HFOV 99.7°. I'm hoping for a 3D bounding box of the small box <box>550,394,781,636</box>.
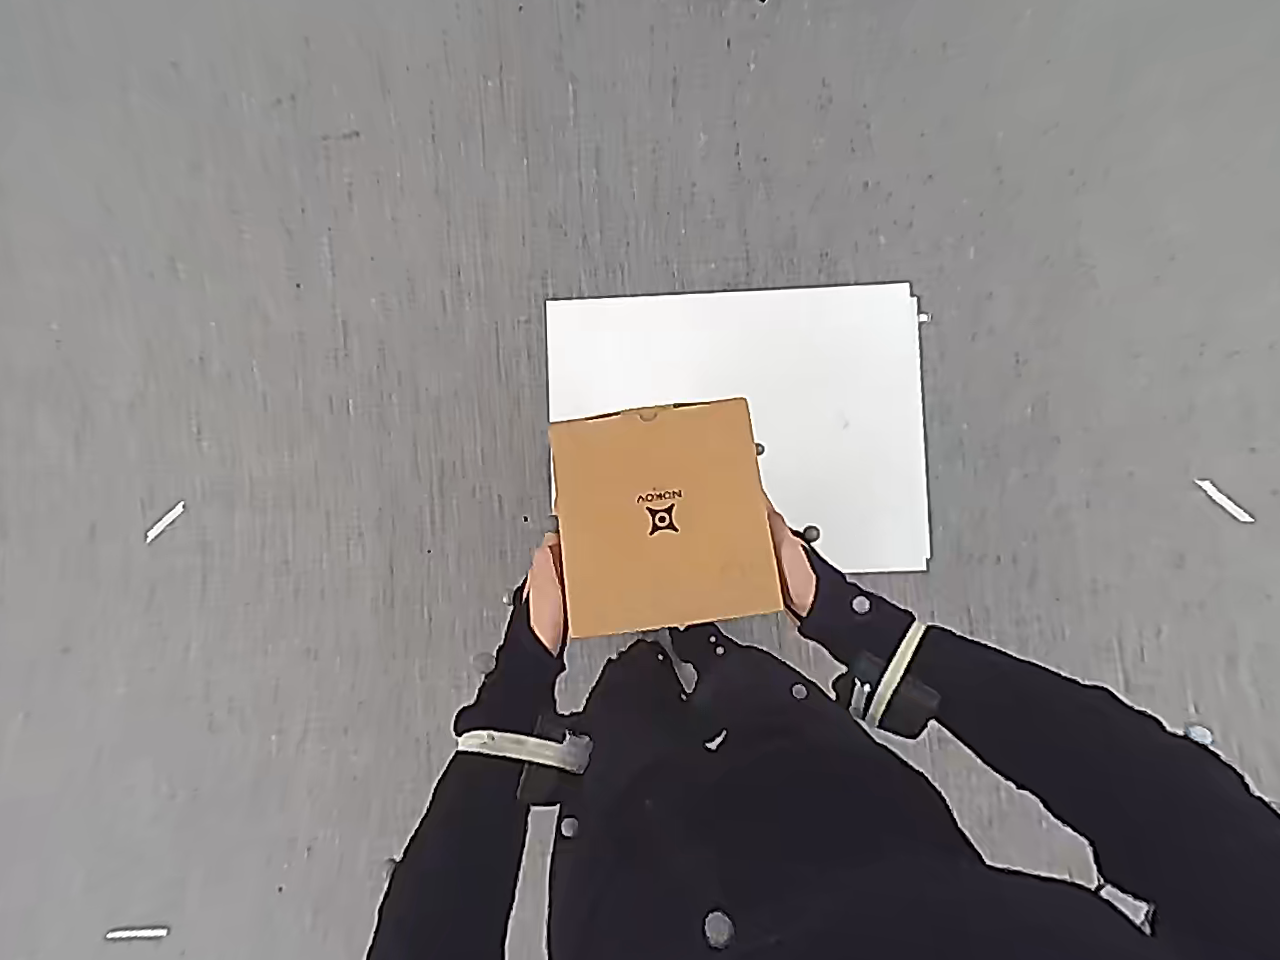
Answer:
[{"bbox_3d":[0.019,0.039,0.502,0.168,0.176,0.179,-8,78,-1],"label":"small box"}]
